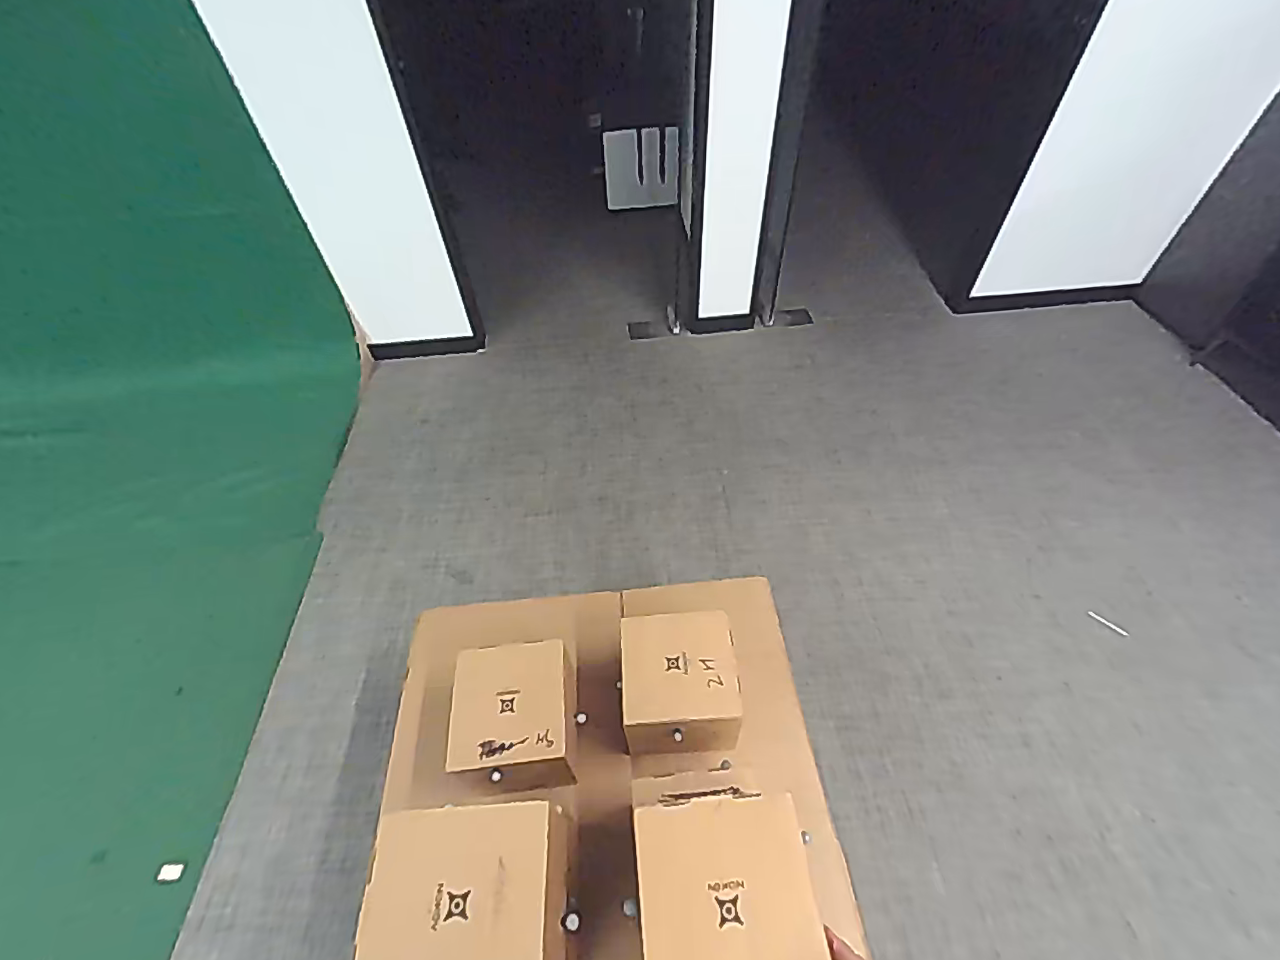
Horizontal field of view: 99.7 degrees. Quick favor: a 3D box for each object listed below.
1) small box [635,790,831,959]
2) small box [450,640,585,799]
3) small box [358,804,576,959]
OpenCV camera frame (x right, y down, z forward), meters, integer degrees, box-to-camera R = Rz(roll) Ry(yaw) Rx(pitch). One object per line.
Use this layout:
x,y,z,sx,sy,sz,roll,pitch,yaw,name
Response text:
0.090,0.445,0.559,0.168,0.176,0.179,-8,47,0,small box
-0.181,0.378,0.850,0.168,0.176,0.179,-8,49,-1,small box
-0.168,0.455,0.572,0.179,0.176,0.168,-4,51,0,small box
